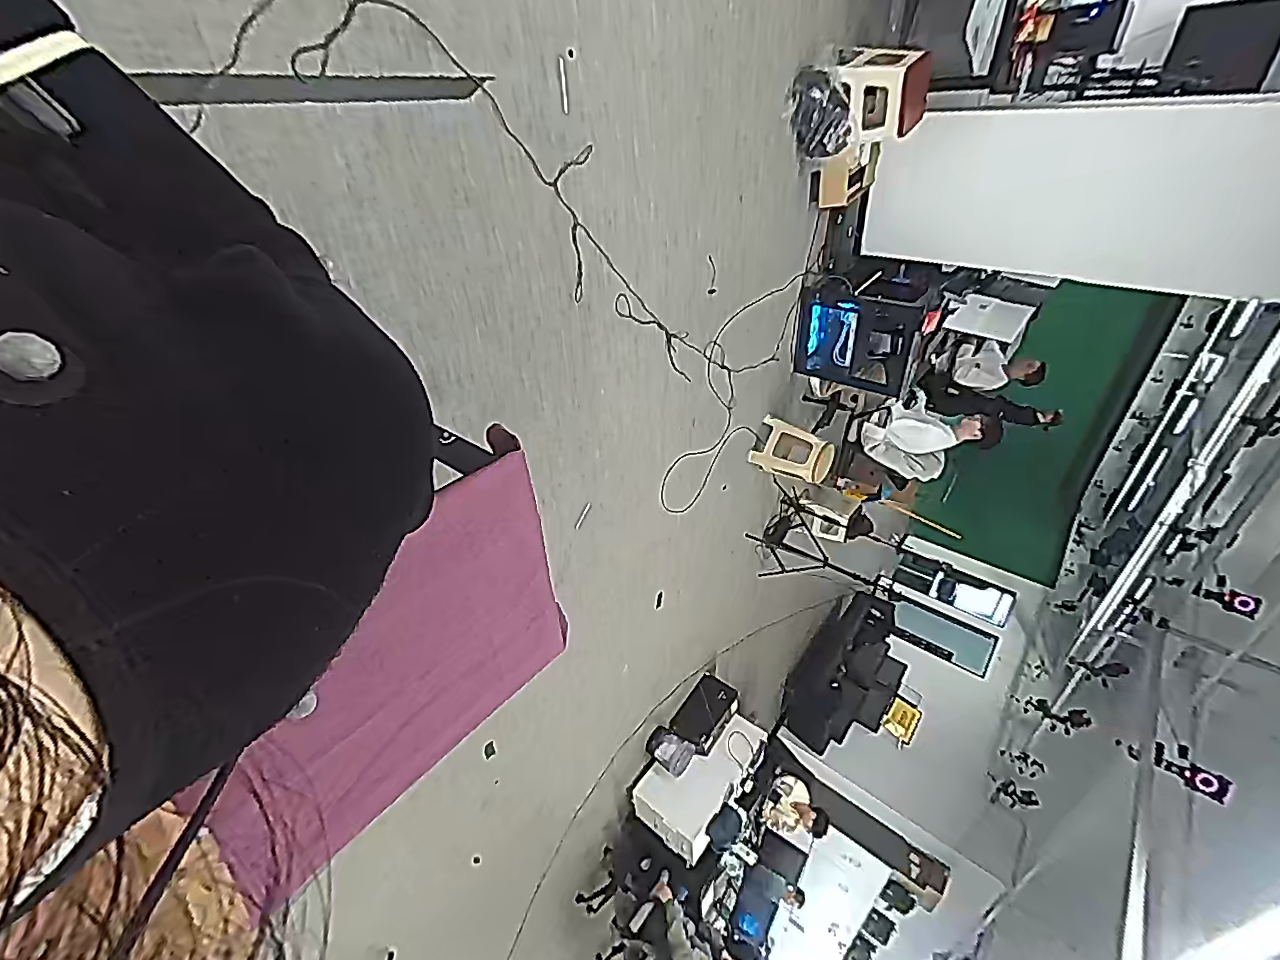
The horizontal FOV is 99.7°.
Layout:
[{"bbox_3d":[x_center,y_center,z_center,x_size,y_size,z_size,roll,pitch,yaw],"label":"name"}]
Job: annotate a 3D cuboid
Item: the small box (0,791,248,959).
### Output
[{"bbox_3d":[-0.662,0.555,0.695,0.179,0.176,0.168,-37,138,-37],"label":"small box"}]
